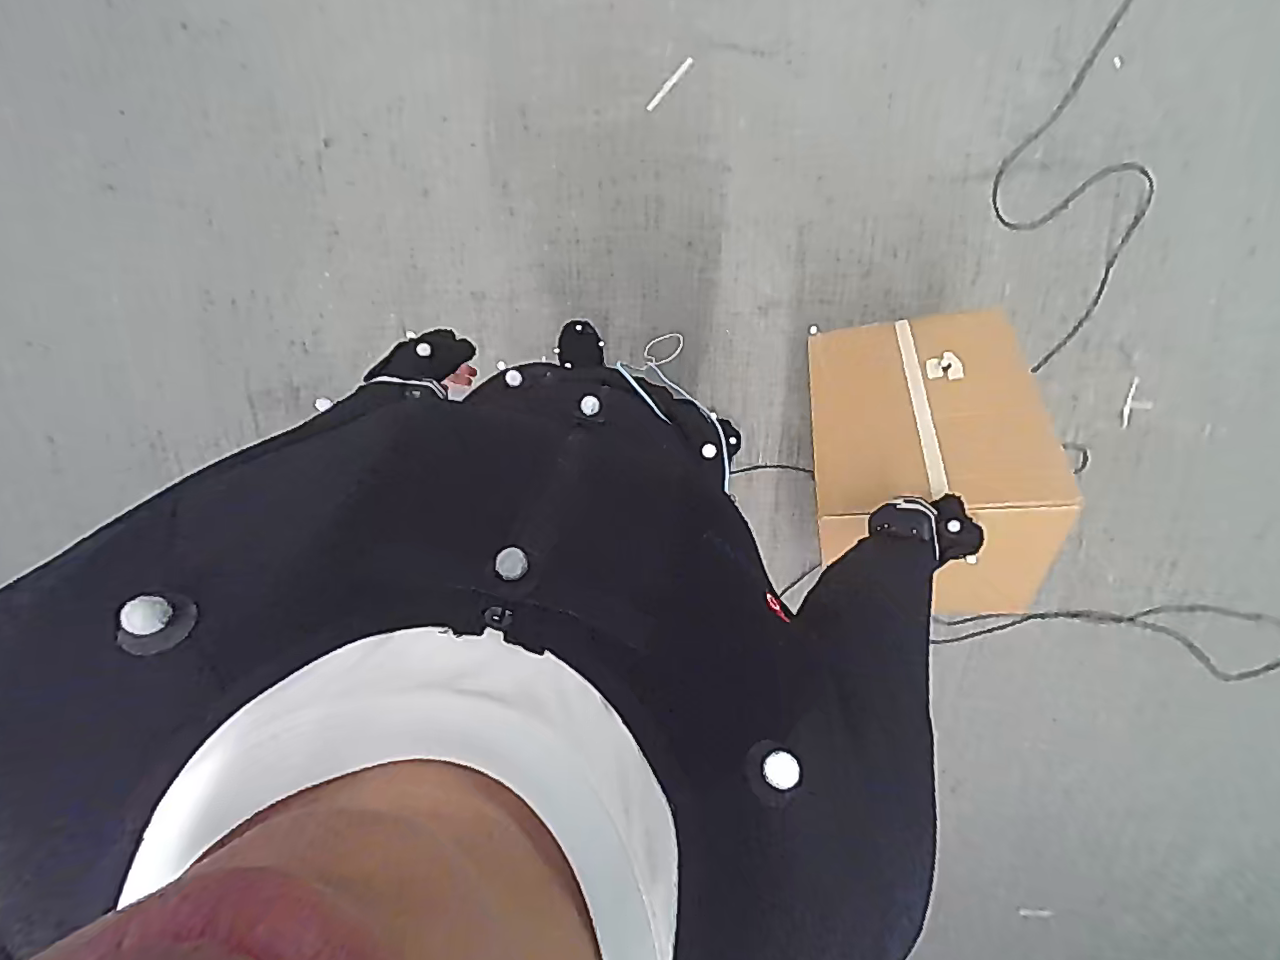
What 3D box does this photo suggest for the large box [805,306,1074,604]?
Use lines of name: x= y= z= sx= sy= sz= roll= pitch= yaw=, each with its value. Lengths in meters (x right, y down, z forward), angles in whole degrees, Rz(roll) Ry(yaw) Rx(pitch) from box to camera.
large box: x=0.474 y=-0.033 z=0.948 sx=0.320 sy=0.408 sz=0.320 roll=-5 pitch=141 yaw=19
